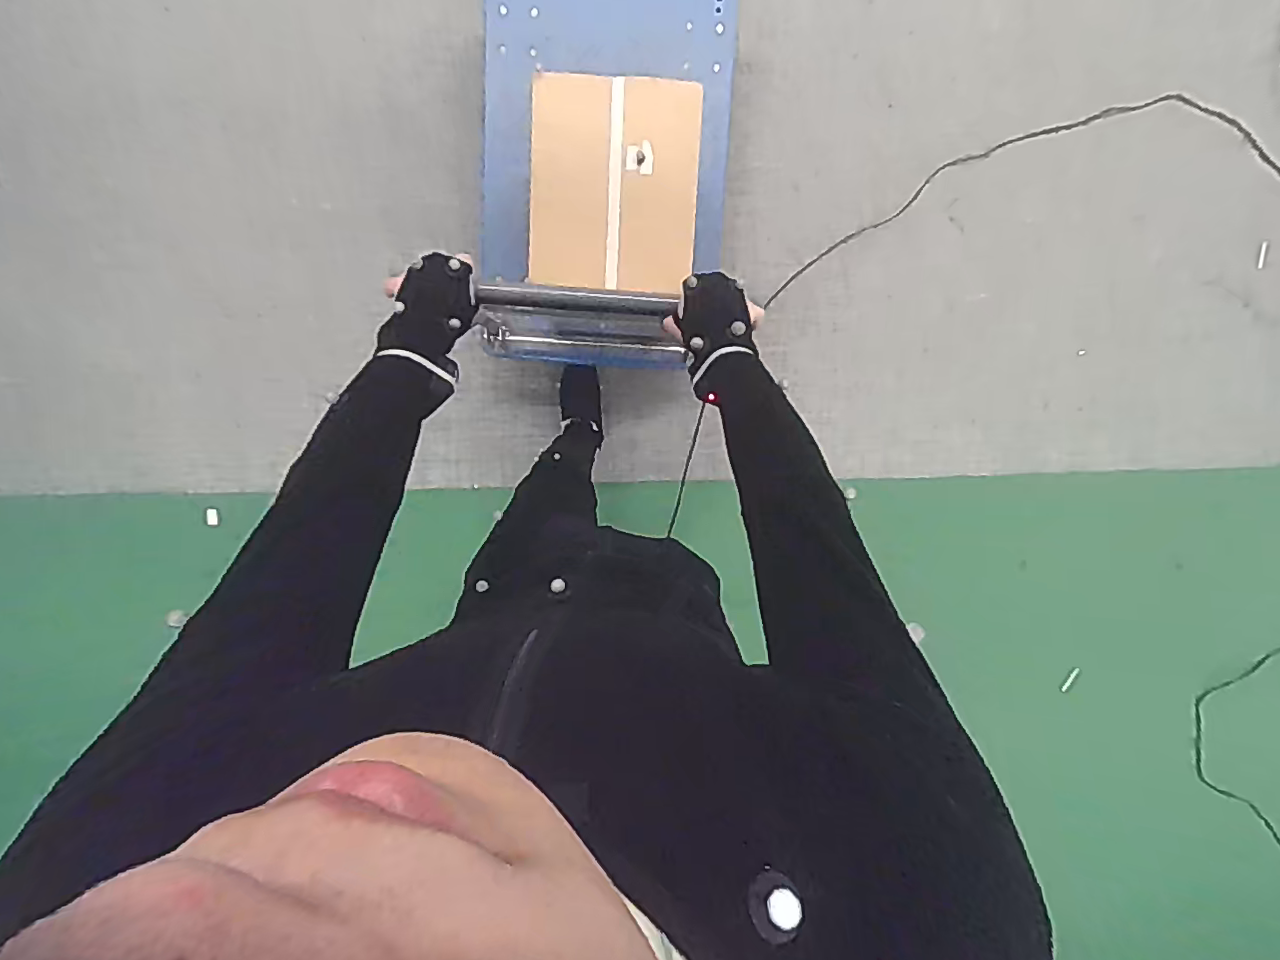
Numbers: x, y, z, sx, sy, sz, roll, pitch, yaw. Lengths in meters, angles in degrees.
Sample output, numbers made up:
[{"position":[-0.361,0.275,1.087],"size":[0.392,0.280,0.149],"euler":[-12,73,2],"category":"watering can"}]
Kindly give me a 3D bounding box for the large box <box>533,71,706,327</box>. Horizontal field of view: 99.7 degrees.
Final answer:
[{"position":[-0.044,-0.553,1.148],"size":[0.320,0.320,0.408],"euler":[3,99,-3],"category":"large box"}]
